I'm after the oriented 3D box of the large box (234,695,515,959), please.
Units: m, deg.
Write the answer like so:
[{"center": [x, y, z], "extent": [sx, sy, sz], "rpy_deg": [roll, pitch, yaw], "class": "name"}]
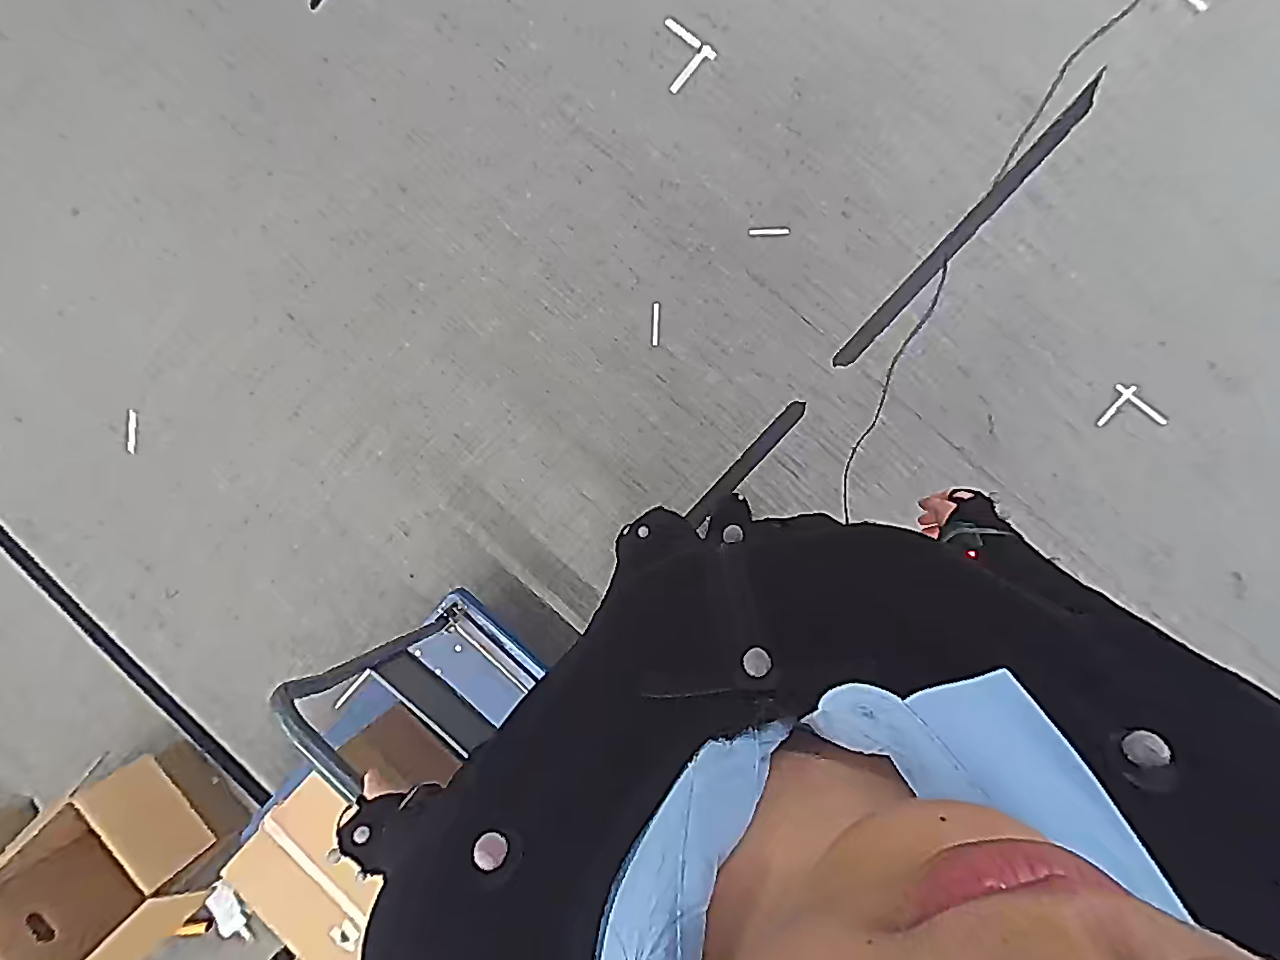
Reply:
[{"center": [-0.563, 0.780, 1.219], "extent": [0.408, 0.320, 0.320], "rpy_deg": [43, 93, 3], "class": "large box"}]
